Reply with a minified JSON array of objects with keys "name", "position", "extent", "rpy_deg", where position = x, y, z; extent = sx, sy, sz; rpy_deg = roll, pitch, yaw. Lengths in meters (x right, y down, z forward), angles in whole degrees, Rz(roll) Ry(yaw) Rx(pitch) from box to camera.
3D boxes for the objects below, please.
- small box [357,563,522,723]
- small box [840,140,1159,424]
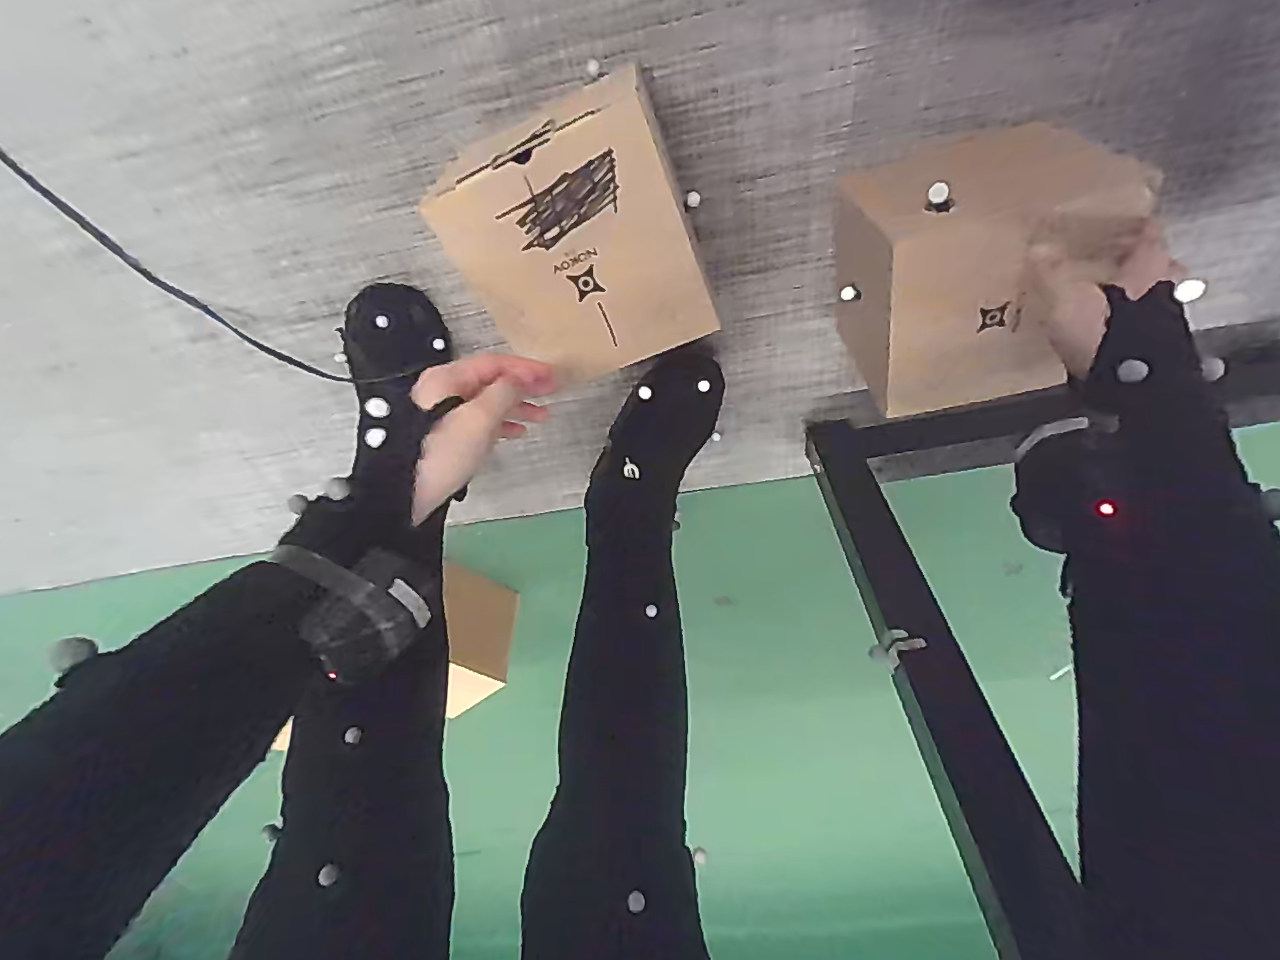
[{"name":"small box","position":[-0.315,0.265,0.883],"extent":[0.179,0.176,0.168],"rpy_deg":[35,123,-27]},{"name":"small box","position":[0.286,-0.178,0.488],"extent":[0.179,0.176,0.168],"rpy_deg":[-11,132,10]}]
